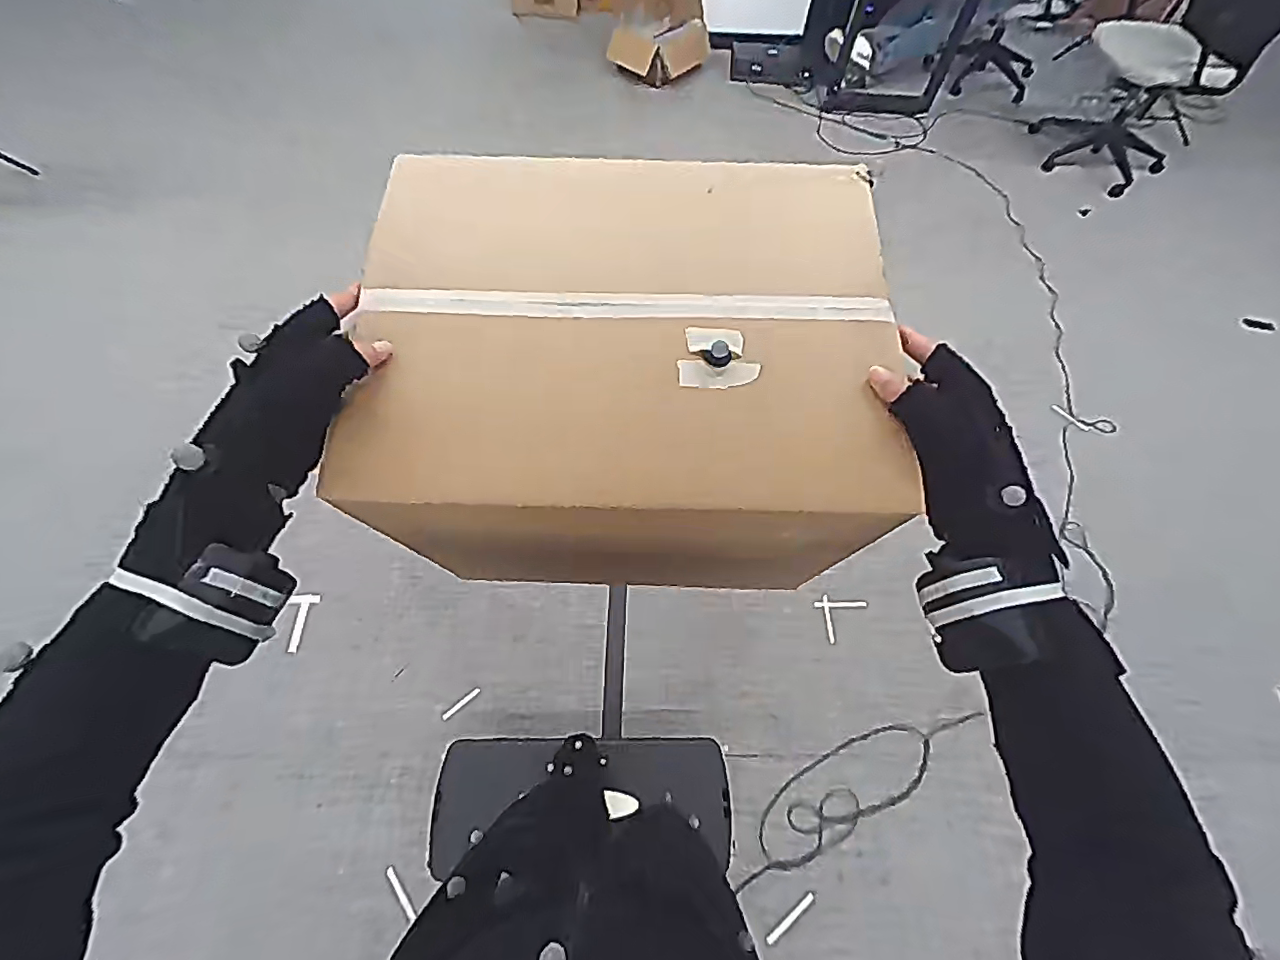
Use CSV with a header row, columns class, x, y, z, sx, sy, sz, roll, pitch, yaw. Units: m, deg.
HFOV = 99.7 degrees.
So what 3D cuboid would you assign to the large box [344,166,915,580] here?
class,x,y,z,sx,sy,sz,roll,pitch,yaw
large box,-0.009,-0.077,0.562,0.408,0.320,0.320,2,70,-1
